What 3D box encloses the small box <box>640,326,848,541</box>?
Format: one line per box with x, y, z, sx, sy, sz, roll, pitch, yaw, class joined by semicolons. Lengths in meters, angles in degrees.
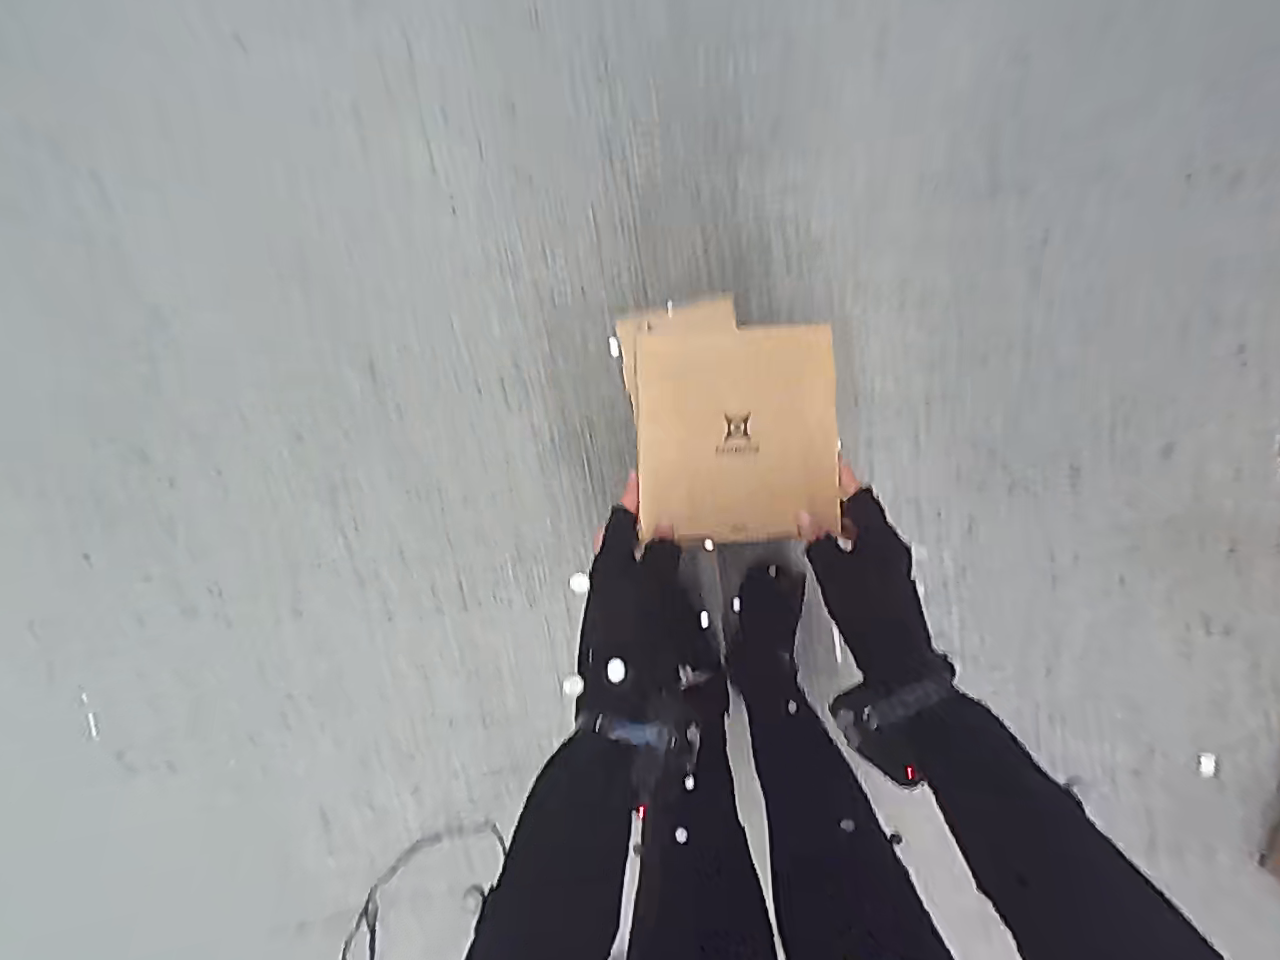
0.083;-0.033;0.516;0.168;0.176;0.179;-2;86;1;small box

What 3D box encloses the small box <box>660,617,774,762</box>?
0.133;0.368;0.975;0.168;0.176;0.179;-5;98;-8;small box
